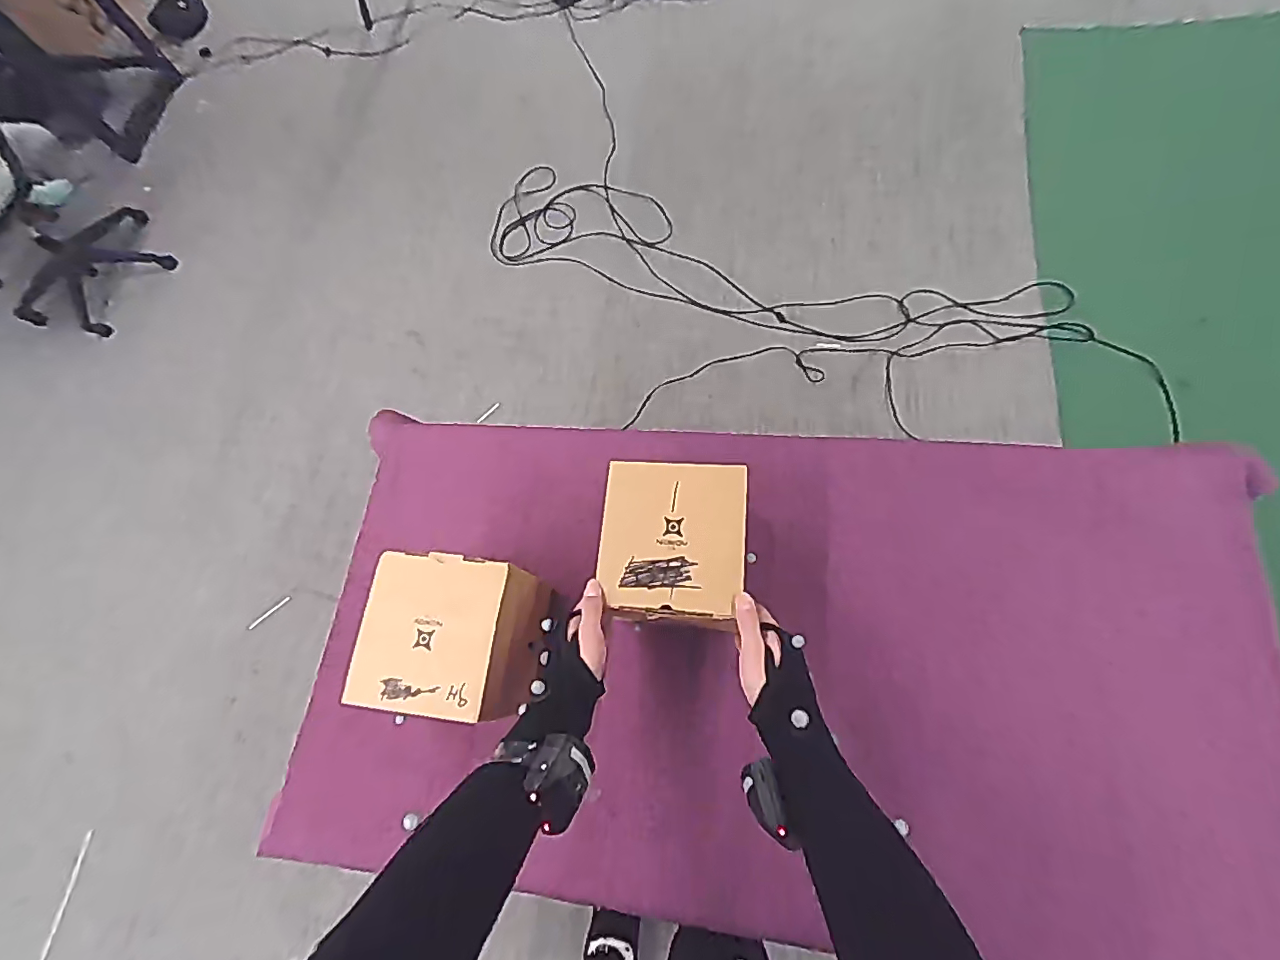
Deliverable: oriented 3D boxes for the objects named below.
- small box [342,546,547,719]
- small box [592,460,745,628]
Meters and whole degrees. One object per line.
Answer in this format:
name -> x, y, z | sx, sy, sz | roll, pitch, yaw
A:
small box -> -0.229, 0.196, 0.688 | 0.168, 0.176, 0.179 | 4, 70, 12
small box -> 0.046, 0.088, 0.688 | 0.168, 0.176, 0.179 | 3, 69, 10
